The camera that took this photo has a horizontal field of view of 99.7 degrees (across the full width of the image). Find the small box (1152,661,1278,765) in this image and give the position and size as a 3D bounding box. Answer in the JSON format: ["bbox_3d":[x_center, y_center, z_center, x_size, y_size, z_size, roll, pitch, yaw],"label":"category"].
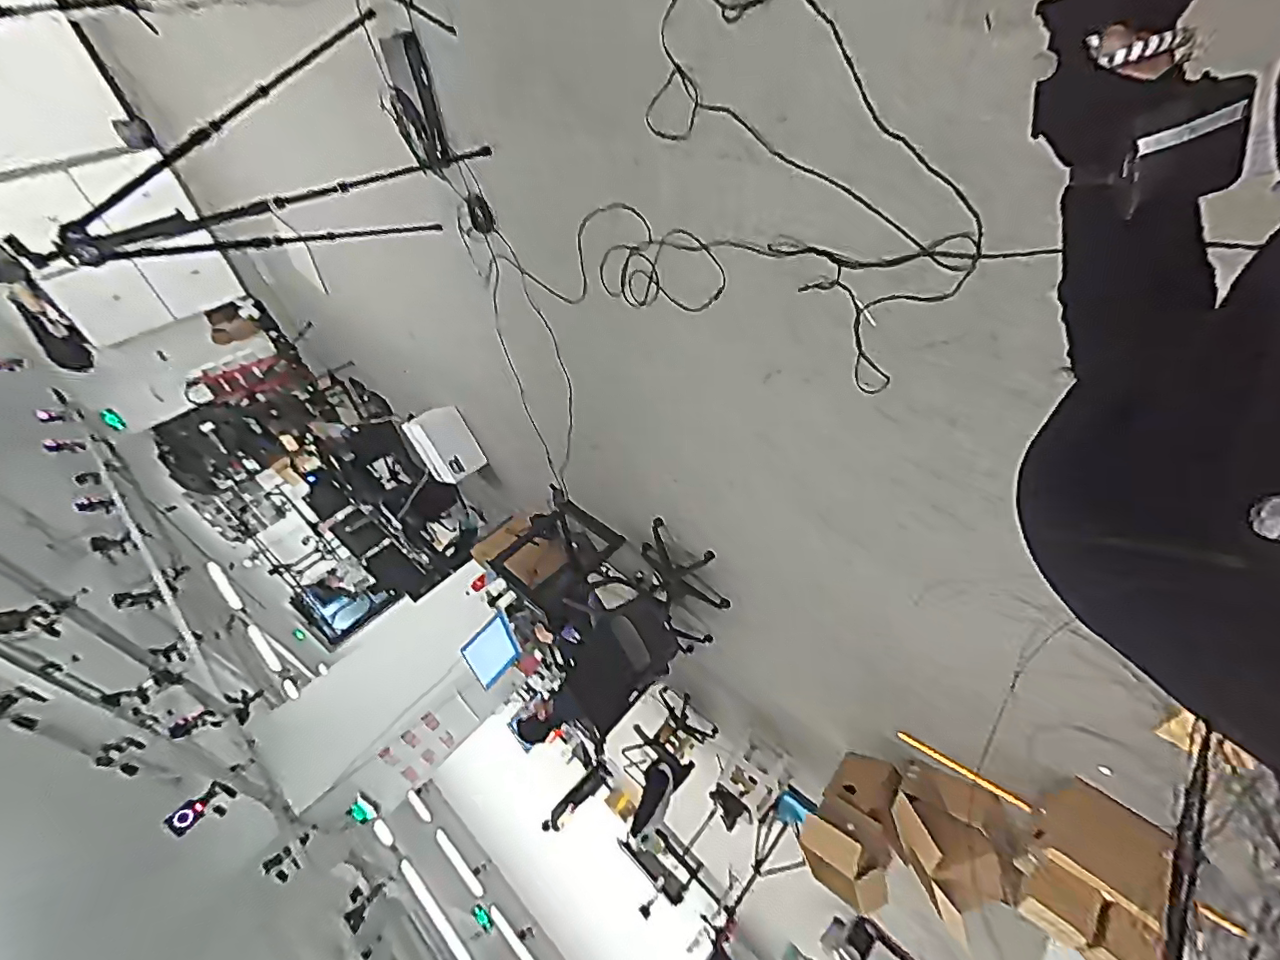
[{"bbox_3d":[1.551,0.618,1.461,0.179,0.176,0.168,29,145,30],"label":"small box"}]
